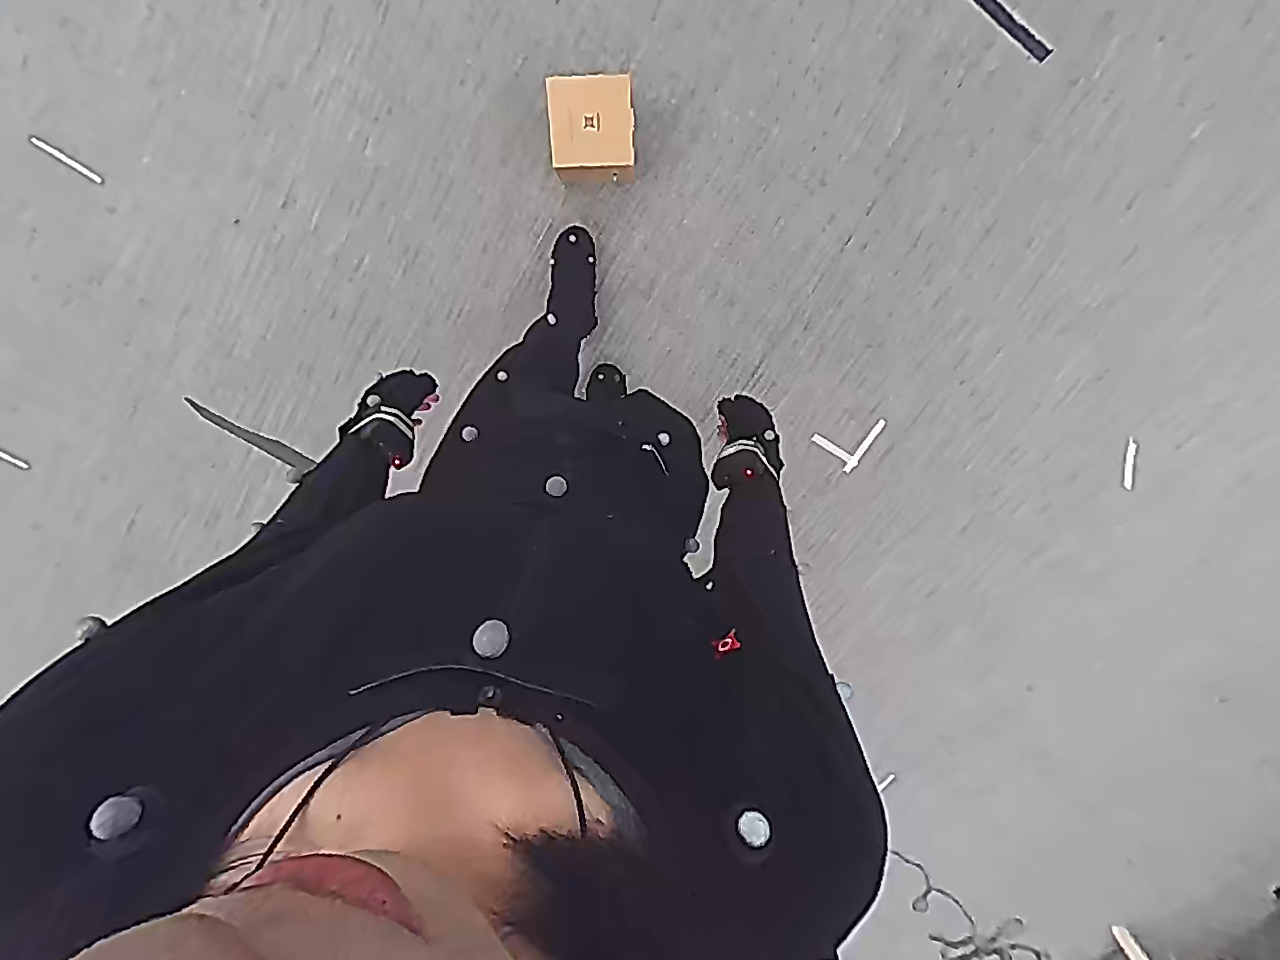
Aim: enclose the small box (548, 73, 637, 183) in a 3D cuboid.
[{"bbox_3d":[-0.099,-0.763,1.187,0.179,0.176,0.168,-3,107,0],"label":"small box"}]
